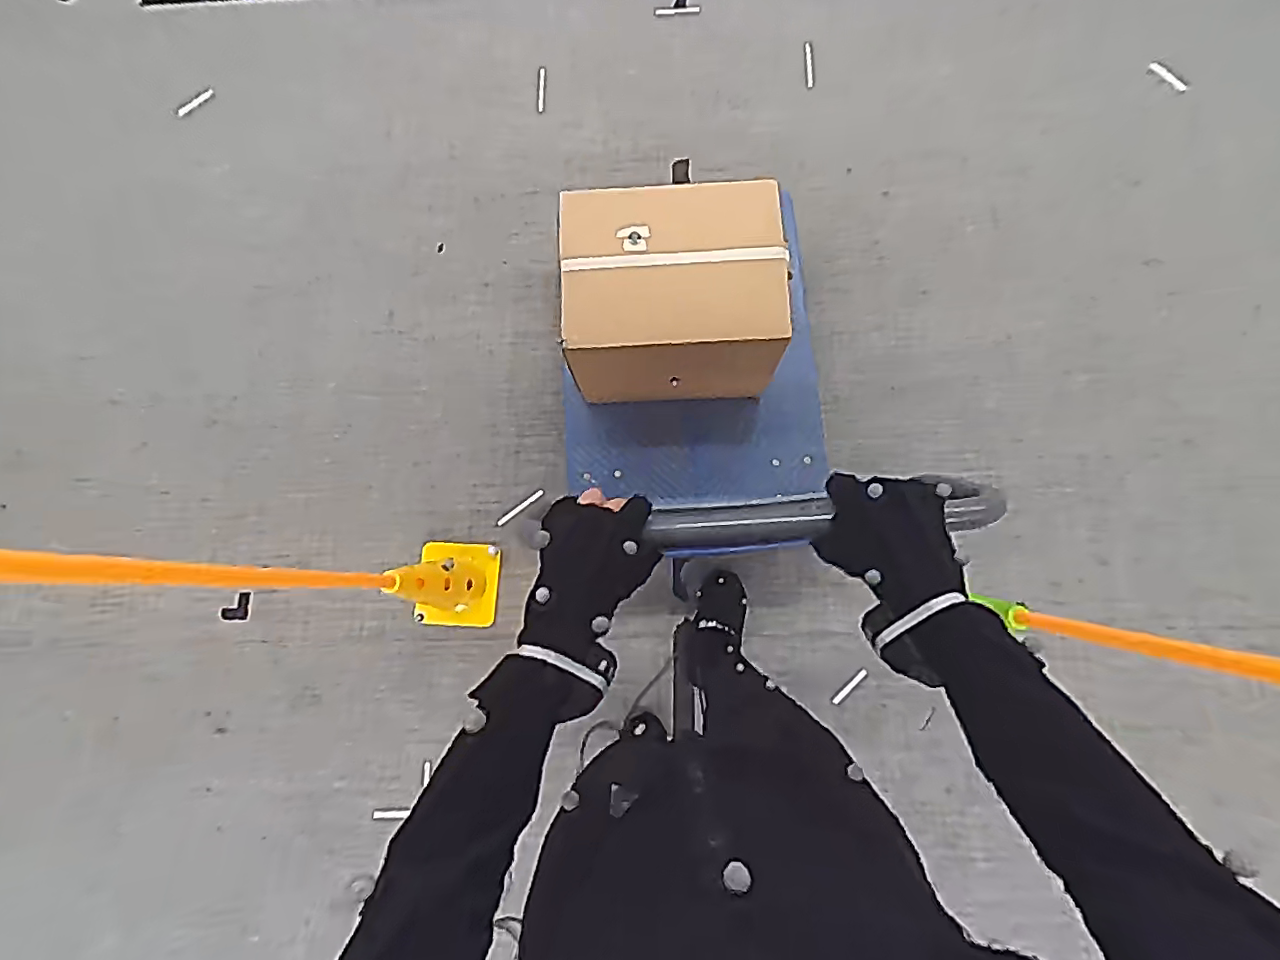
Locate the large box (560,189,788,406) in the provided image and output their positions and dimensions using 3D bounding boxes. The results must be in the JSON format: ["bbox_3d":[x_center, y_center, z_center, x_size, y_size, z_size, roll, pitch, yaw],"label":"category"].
[{"bbox_3d":[0.064,-0.351,1.124,0.408,0.320,0.320,-3,79,3],"label":"large box"}]

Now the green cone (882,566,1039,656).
[{"bbox_3d":[0.674,0.276,1.114,0.202,0.368,0.200,3,79,2],"label":"green cone"}]
